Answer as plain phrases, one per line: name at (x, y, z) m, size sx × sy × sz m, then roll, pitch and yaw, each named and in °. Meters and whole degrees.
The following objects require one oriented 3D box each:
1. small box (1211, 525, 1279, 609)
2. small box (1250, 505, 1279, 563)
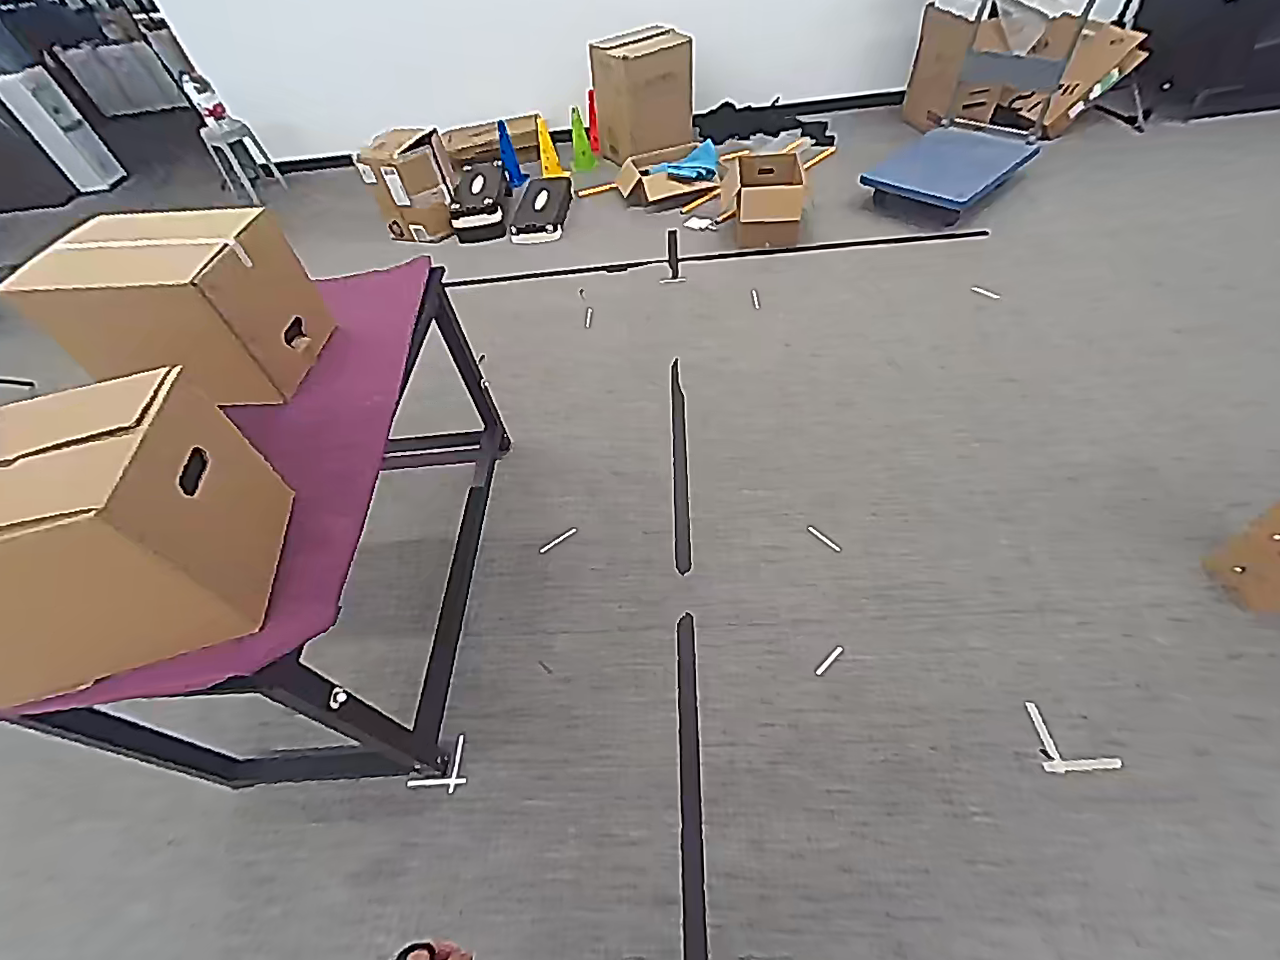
small box at (1.681, 0.225, 1.421) m, size 0.179 × 0.176 × 0.168 m, roll -6°, pitch 50°, yaw 2°
small box at (1.665, 0.121, 1.296) m, size 0.179 × 0.176 × 0.168 m, roll -6°, pitch 50°, yaw 3°
